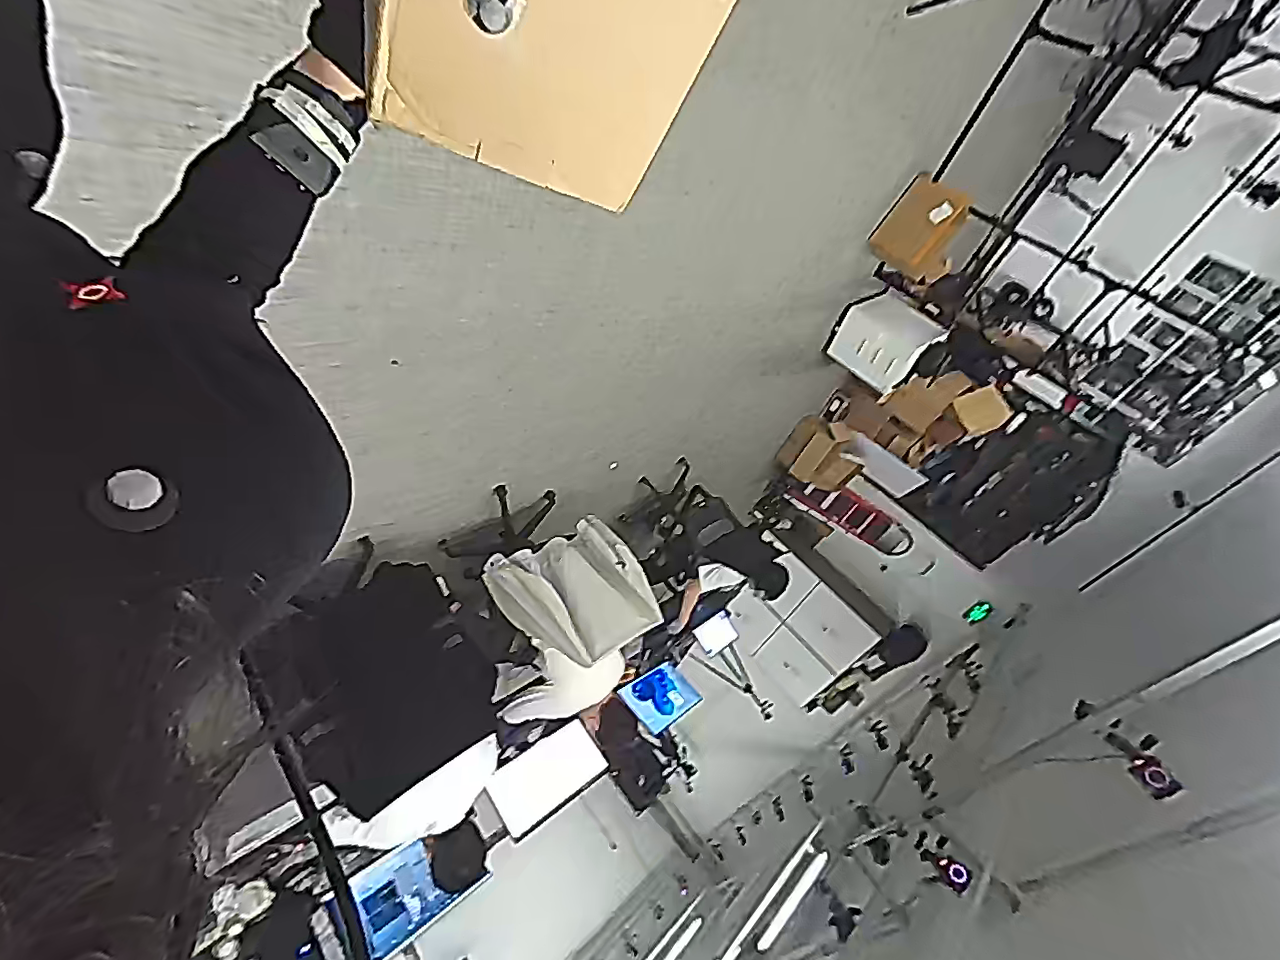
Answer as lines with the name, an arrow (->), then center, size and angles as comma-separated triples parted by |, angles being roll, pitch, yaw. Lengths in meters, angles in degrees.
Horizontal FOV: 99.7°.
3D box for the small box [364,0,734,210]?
small box -> -0.056, -0.304, 0.311 | 0.168, 0.179, 0.176 | 5, 146, -34
